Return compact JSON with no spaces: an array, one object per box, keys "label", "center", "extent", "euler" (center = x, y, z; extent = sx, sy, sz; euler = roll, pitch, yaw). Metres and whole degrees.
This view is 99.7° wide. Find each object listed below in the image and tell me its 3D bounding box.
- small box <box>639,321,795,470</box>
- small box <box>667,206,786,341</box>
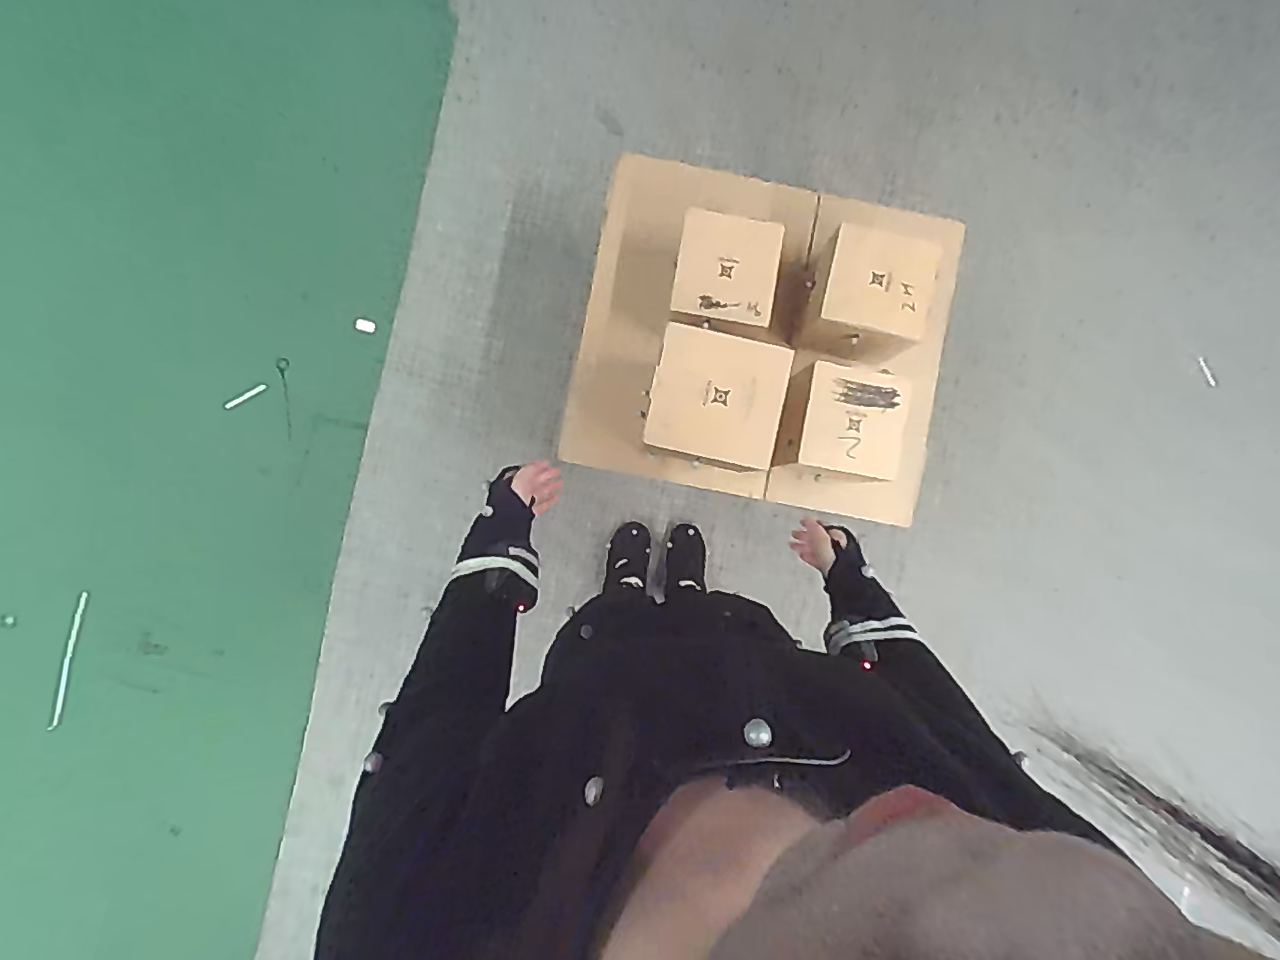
[{"label":"small box","center":[0.100,-0.111,0.786],"extent":[0.179,0.176,0.168],"euler":[13,90,-1]},{"label":"small box","center":[0.143,-0.343,0.952],"extent":[0.168,0.176,0.179],"euler":[10,88,1]}]
